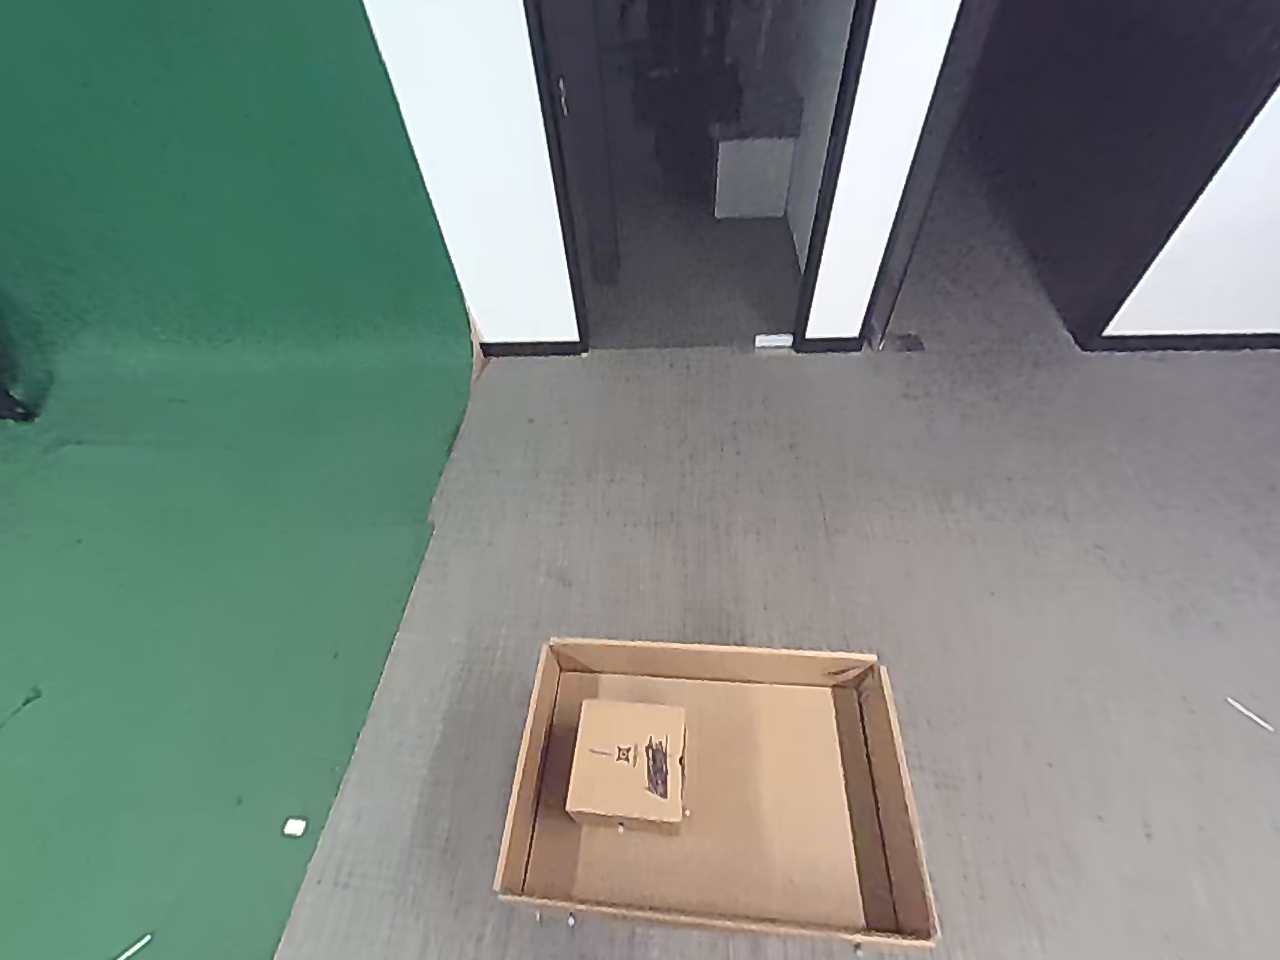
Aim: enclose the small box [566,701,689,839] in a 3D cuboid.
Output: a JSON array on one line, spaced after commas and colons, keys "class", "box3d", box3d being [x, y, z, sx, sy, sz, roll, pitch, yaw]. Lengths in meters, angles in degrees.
[{"class": "small box", "box3d": [-0.011, 0.487, 0.903, 0.179, 0.176, 0.168, 2, 50, 7]}]
